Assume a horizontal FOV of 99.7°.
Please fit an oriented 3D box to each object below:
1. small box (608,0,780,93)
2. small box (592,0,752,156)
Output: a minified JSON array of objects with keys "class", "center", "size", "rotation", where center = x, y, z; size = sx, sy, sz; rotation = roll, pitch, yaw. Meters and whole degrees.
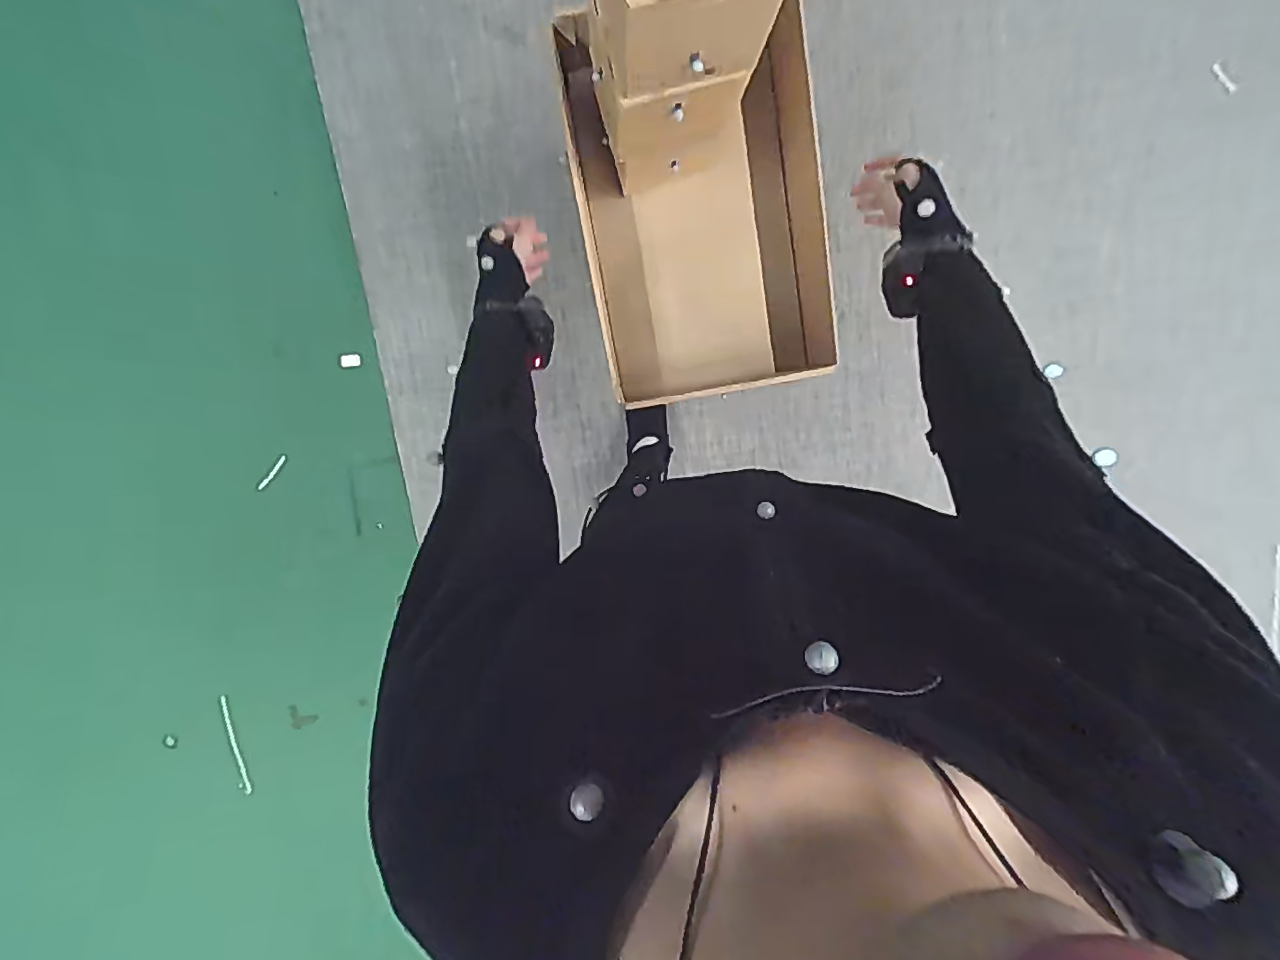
[{"class":"small box","center":[0.046,-0.562,0.574],"size":[0.168,0.176,0.179],"rotation":[-12,101,1]},{"class":"small box","center":[0.035,-0.578,0.738],"size":[0.179,0.176,0.168],"rotation":[-14,100,1]}]
